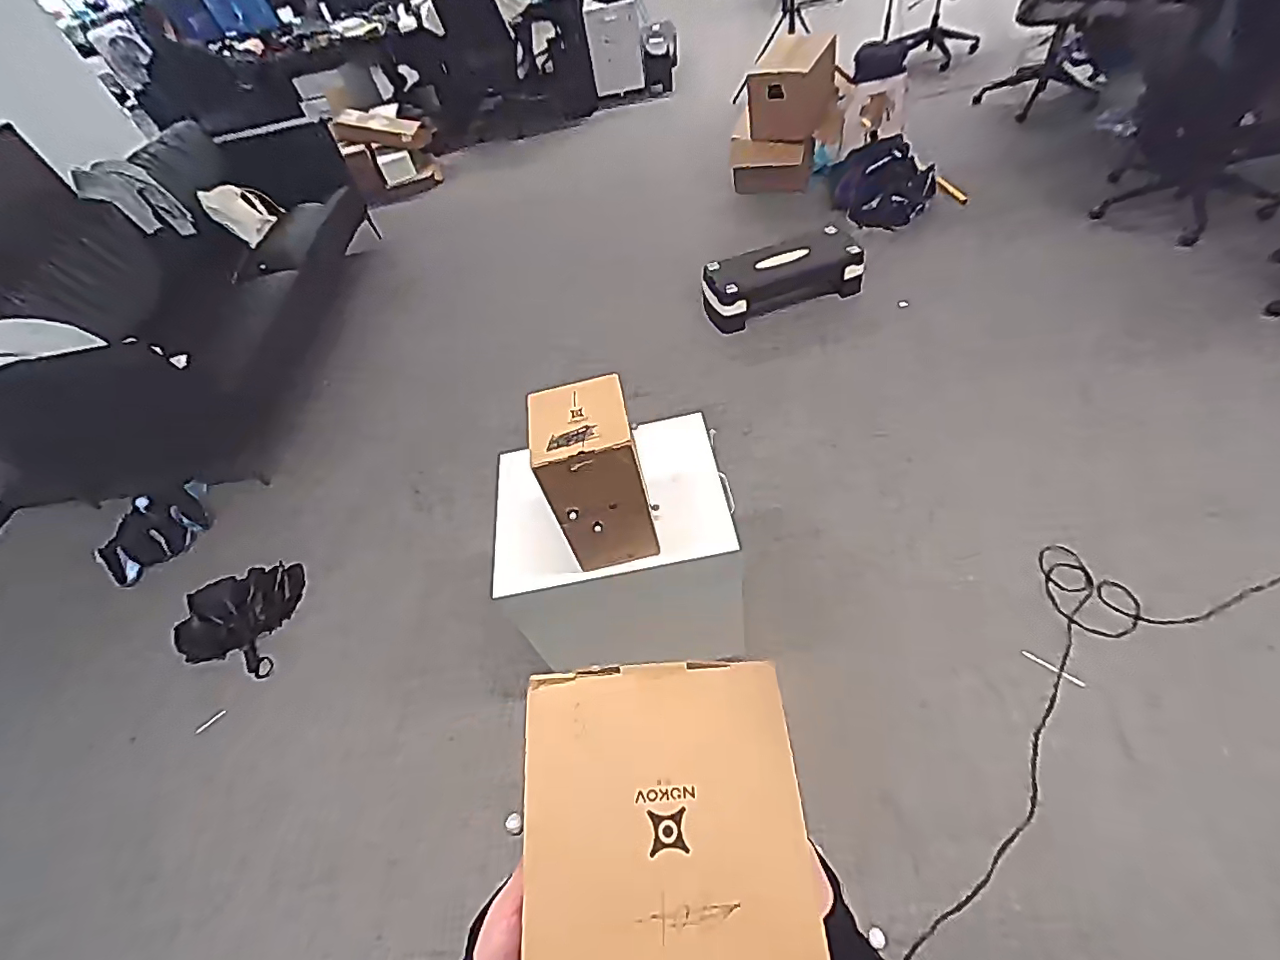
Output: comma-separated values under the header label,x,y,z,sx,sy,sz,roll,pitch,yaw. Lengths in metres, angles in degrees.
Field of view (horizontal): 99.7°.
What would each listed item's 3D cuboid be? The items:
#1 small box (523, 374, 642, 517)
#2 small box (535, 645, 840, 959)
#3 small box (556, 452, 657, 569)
label,x,y,z,sx,sy,sz,roll,pitch,yaw
small box,-0.099,-0.053,0.956,0.168,0.176,0.179,-14,49,1
small box,0.013,0.229,0.389,0.168,0.176,0.179,-2,62,-7
small box,-0.071,0.050,1.082,0.168,0.176,0.179,-15,49,1
